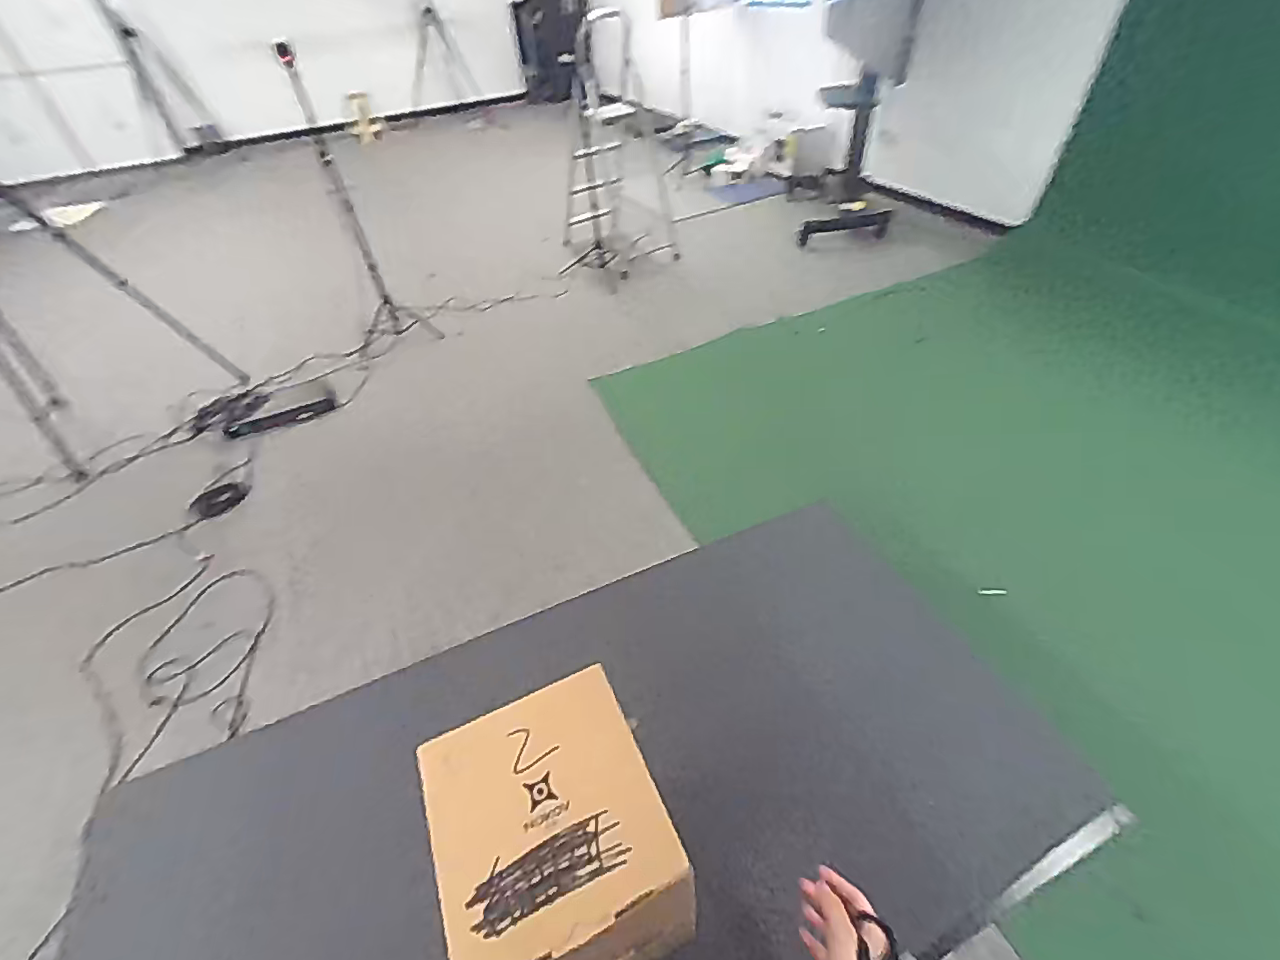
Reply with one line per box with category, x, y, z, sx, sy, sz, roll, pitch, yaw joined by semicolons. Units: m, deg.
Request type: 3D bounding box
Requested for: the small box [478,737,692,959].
small box;-0.056;0.424;0.582;0.168;0.176;0.179;-22;45;-15
